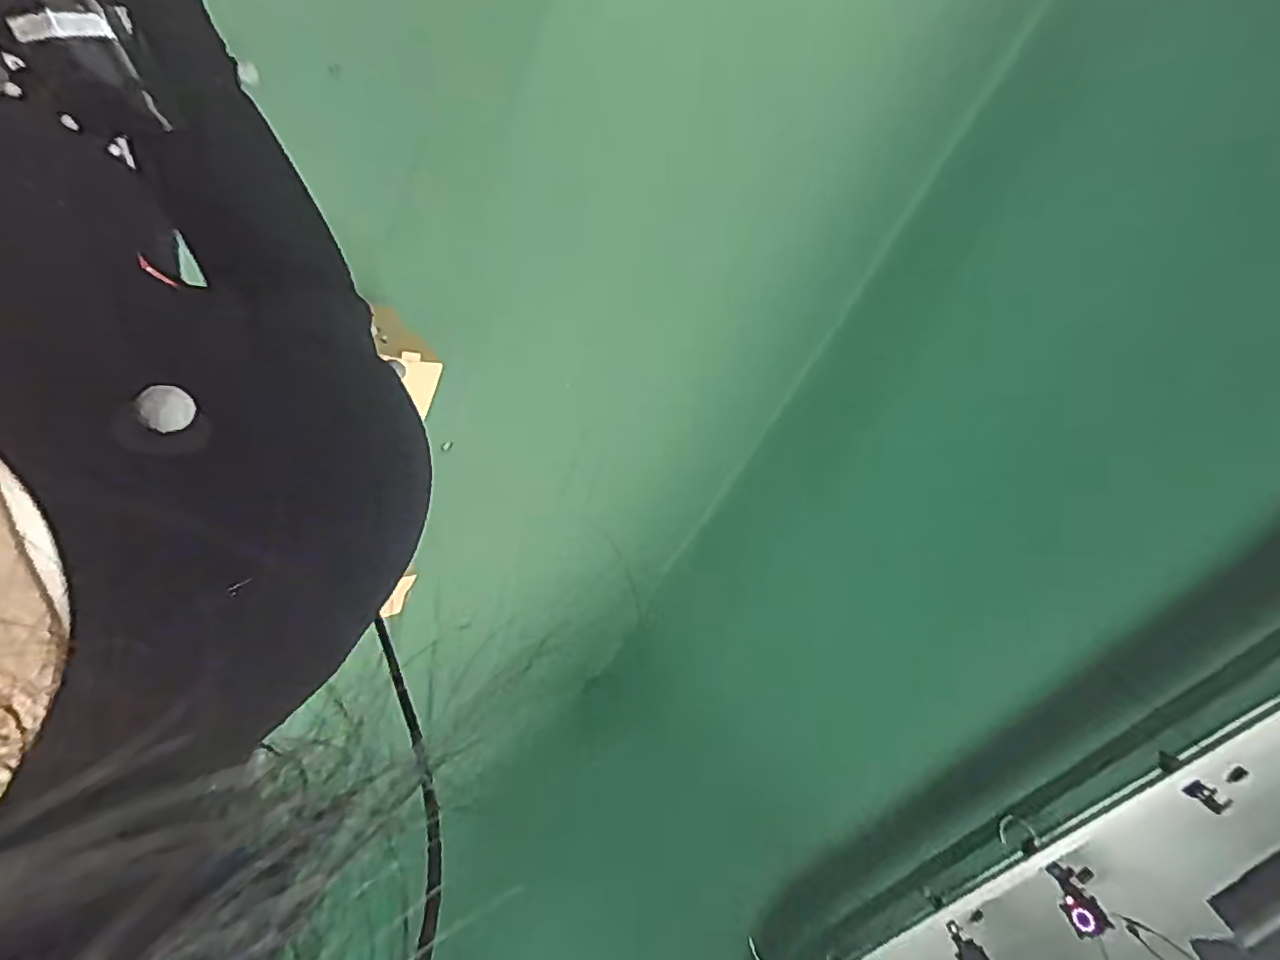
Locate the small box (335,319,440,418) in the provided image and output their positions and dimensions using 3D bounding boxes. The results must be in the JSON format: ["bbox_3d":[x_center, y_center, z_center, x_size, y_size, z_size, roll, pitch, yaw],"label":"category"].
[{"bbox_3d":[-0.627,-0.273,1.334,0.168,0.176,0.179,-4,133,-50],"label":"small box"}]
